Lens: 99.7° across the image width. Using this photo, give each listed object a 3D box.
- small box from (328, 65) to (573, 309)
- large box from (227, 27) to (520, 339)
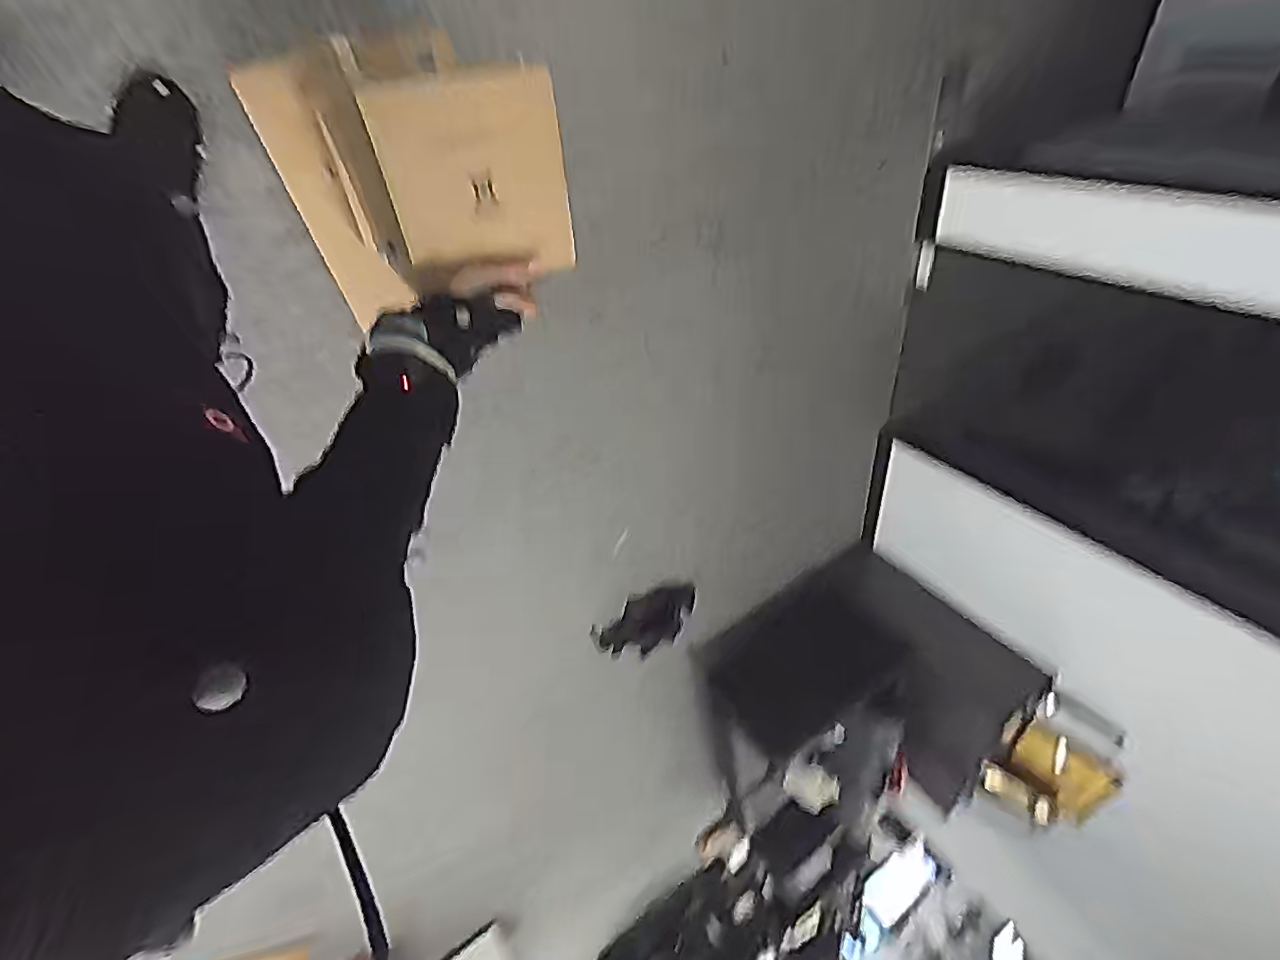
[{"bbox_3d":[-0.187,-0.302,0.548,0.168,0.176,0.179,-25,135,-22],"label":"small box"},{"bbox_3d":[-0.466,-0.541,0.989,0.320,0.320,0.408,-27,135,-17],"label":"large box"}]
